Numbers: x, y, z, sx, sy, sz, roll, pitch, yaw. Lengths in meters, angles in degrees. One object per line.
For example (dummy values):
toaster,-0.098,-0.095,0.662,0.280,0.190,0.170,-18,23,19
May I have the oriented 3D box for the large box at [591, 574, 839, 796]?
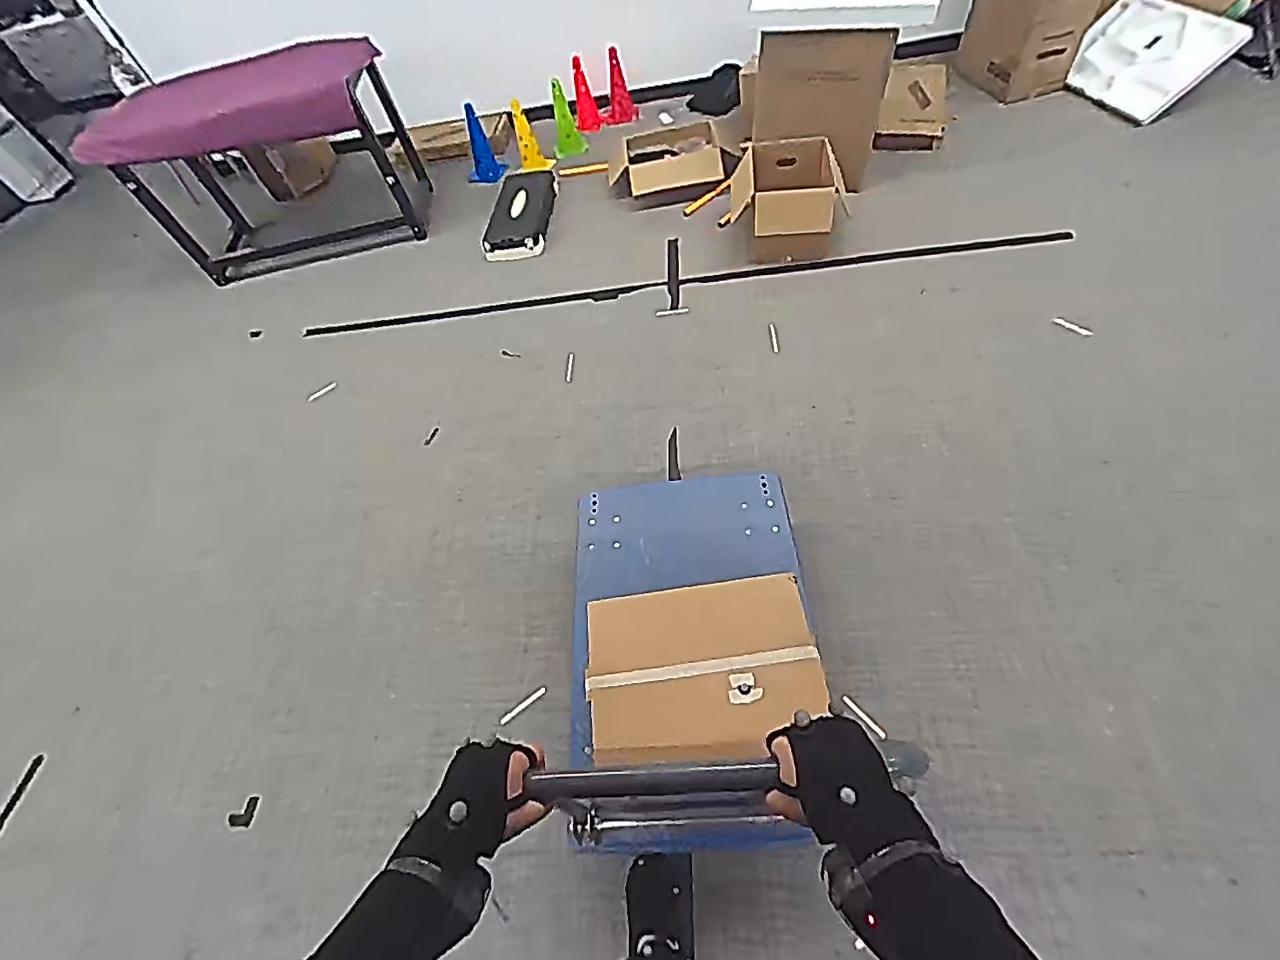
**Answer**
large box,0.132,0.424,1.092,0.408,0.320,0.320,-9,55,3
